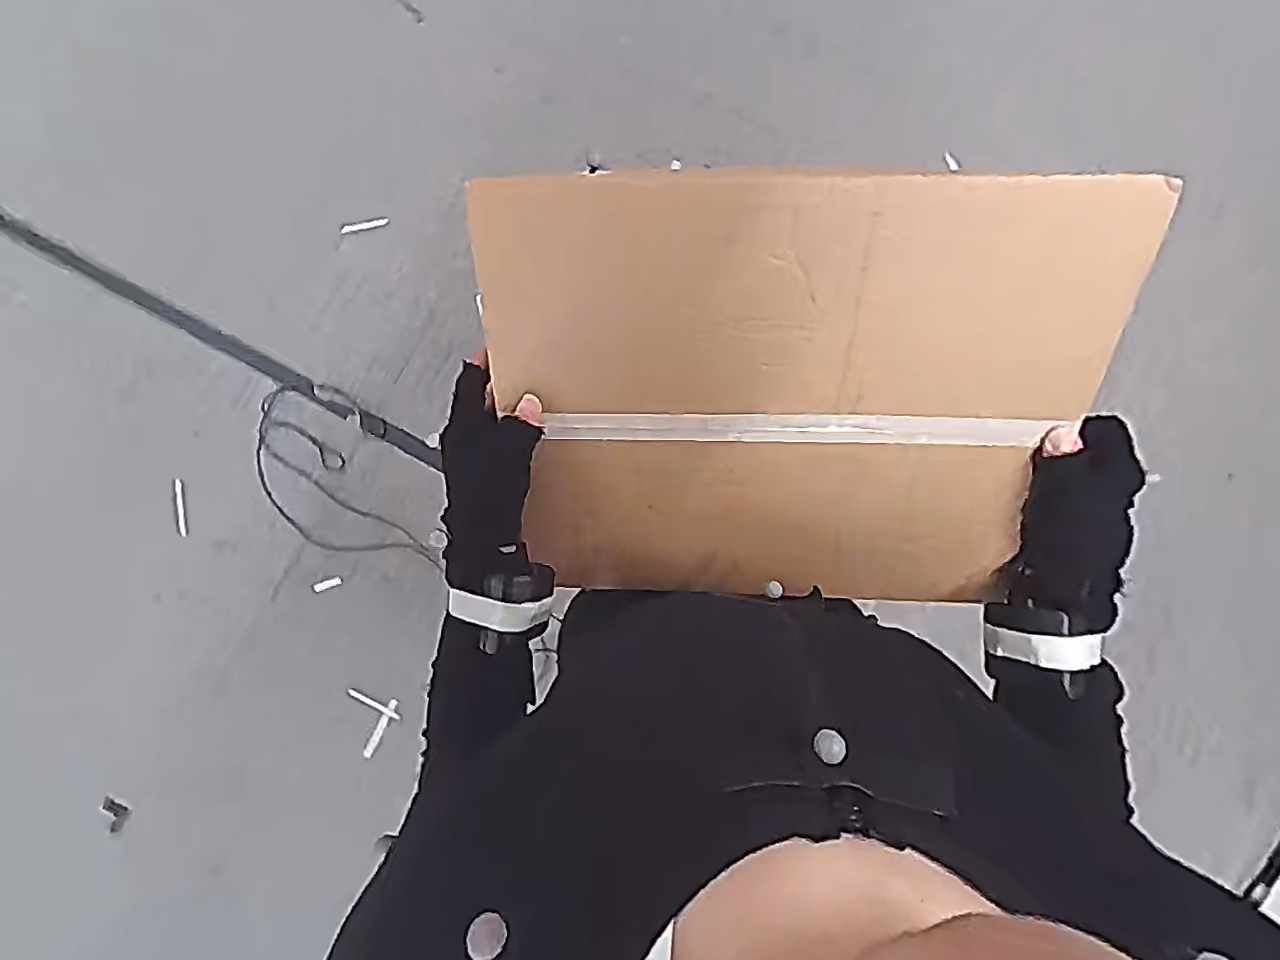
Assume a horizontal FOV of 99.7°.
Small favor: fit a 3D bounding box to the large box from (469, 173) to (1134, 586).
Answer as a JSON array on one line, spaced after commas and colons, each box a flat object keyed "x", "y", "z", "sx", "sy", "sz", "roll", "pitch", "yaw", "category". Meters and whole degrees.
[{"x": 0.101, "y": -0.116, "z": 0.527, "sx": 0.408, "sy": 0.320, "sz": 0.320, "roll": 1, "pitch": 121, "yaw": 3, "category": "large box"}]
